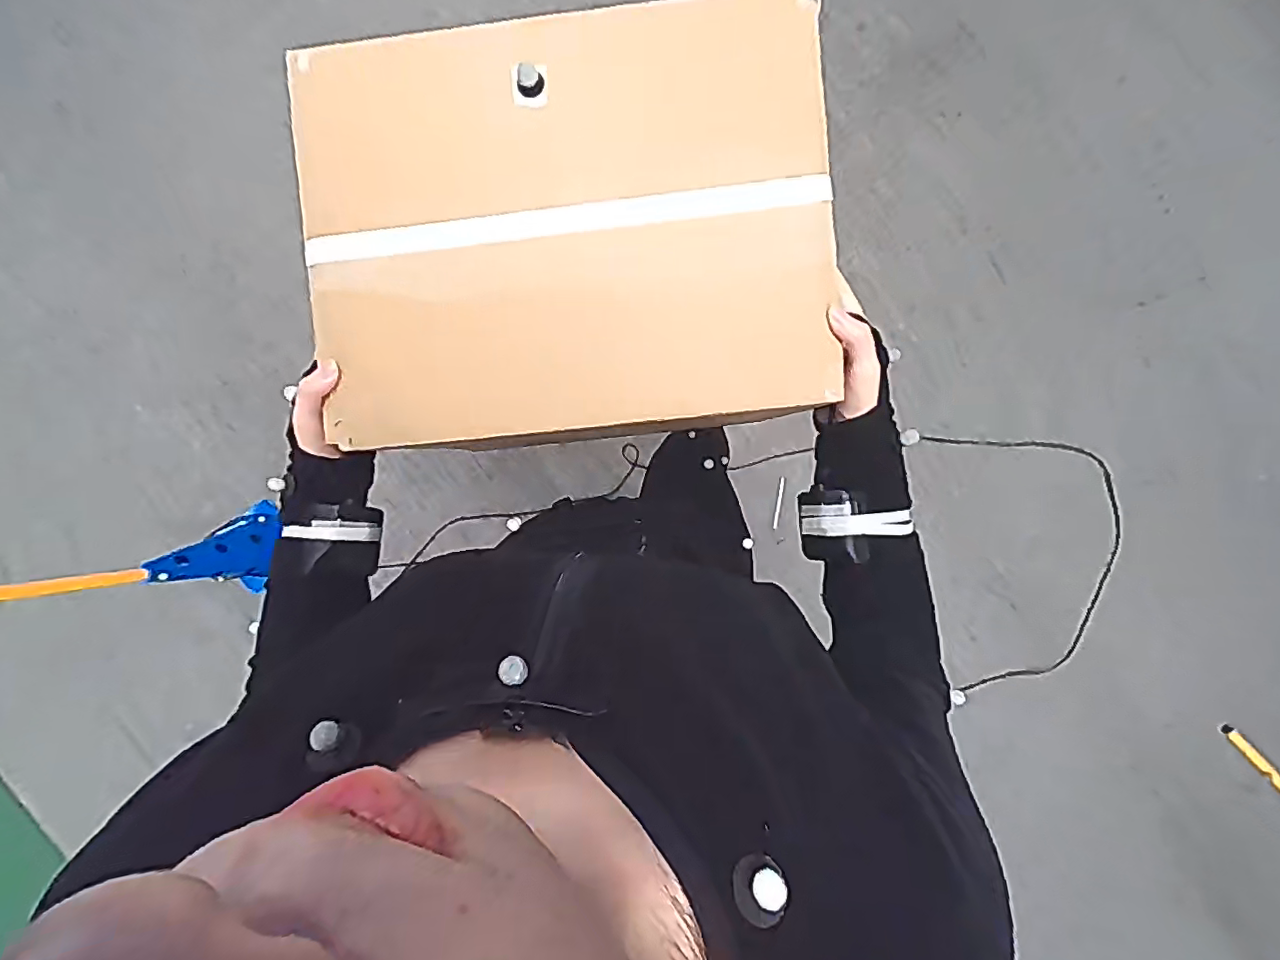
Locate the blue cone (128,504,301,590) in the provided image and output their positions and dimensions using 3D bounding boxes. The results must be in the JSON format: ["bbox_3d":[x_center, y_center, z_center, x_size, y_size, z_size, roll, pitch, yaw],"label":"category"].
[{"bbox_3d":[-1.033,0.184,1.284,0.192,0.380,0.193,-37,91,1],"label":"blue cone"}]
